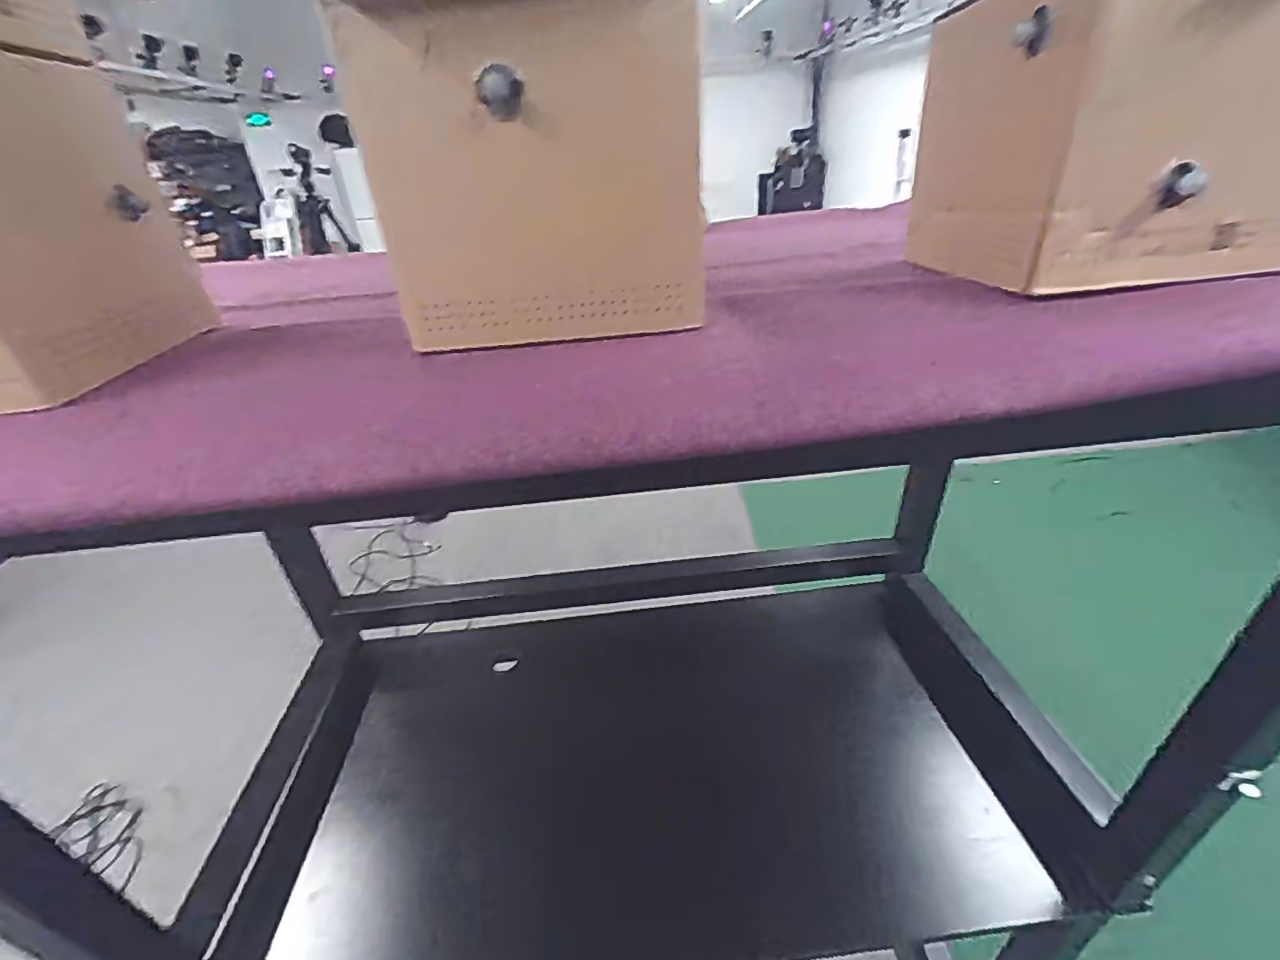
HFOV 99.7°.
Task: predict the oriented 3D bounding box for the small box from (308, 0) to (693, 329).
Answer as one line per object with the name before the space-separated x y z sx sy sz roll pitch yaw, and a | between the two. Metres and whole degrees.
small box | -0.065 -0.200 0.344 0.179 0.176 0.168 -5 30 -2

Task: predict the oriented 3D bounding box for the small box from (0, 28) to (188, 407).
small box | -0.408 -0.143 0.300 0.168 0.176 0.179 -9 33 -5

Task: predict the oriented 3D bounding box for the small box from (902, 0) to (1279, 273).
small box | 0.293 -0.236 0.350 0.168 0.176 0.179 -6 29 1
